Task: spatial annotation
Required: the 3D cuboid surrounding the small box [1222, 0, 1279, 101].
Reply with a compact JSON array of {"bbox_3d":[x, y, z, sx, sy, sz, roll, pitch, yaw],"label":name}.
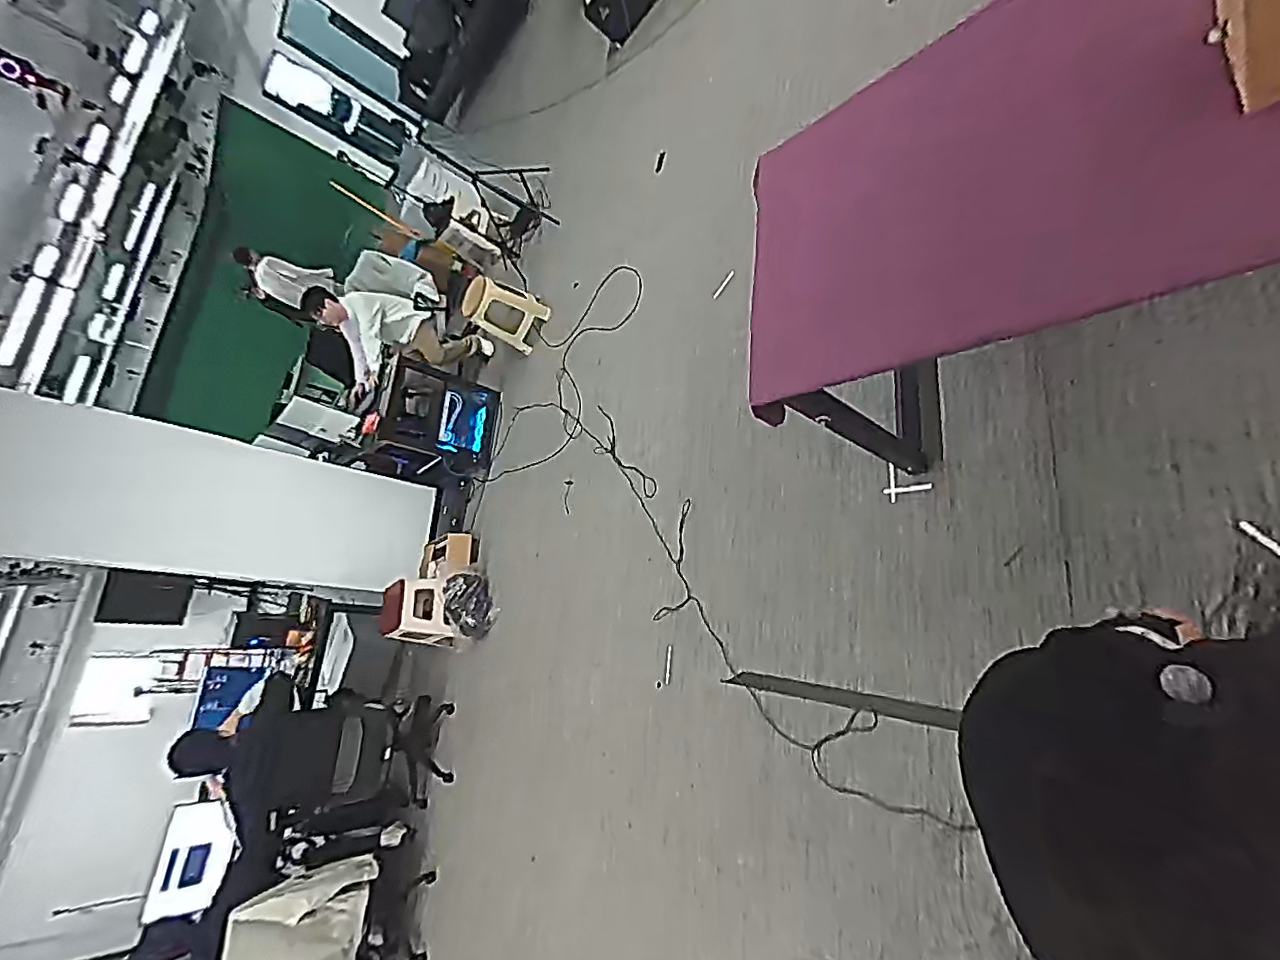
[{"bbox_3d":[0.710,-0.540,0.533,0.179,0.176,0.168,-13,66,48],"label":"small box"}]
